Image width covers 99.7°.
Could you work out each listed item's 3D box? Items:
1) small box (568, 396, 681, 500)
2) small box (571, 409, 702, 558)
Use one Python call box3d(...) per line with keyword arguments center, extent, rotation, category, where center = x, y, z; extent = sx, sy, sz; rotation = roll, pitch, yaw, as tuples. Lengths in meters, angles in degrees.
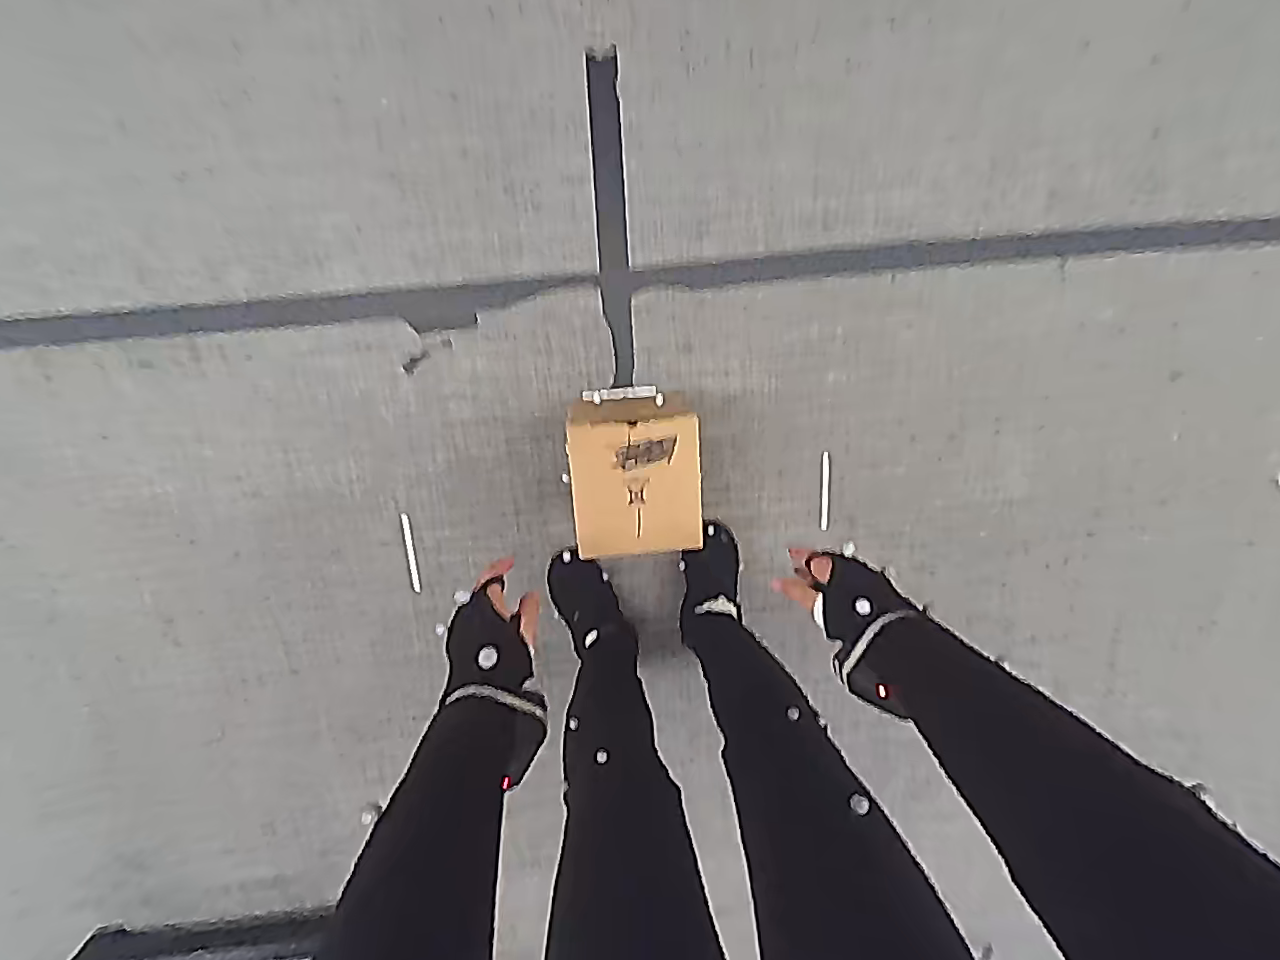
box3d(center=(-0.026, -0.052, 0.924), extent=(0.179, 0.176, 0.168), rotation=(-4, 105, -4), category="small box")
box3d(center=(-0.010, -0.006, 0.767), extent=(0.168, 0.176, 0.179), rotation=(-4, 105, -3), category="small box")
